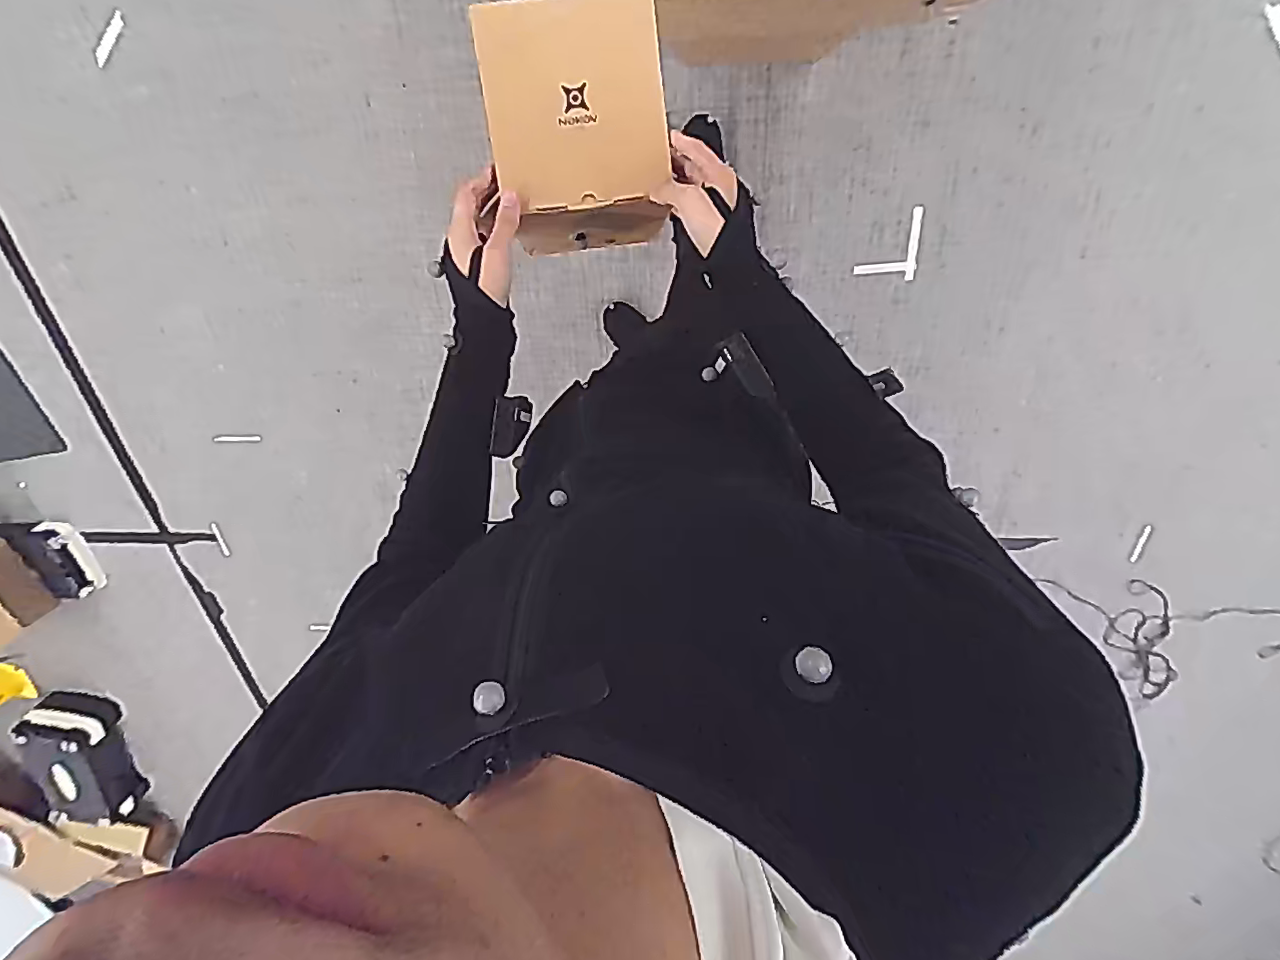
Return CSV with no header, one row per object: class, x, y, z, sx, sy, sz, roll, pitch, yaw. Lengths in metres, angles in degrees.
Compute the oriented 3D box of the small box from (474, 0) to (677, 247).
small box,-0.062,-0.365,0.567,0.168,0.176,0.179,-9,100,-3
